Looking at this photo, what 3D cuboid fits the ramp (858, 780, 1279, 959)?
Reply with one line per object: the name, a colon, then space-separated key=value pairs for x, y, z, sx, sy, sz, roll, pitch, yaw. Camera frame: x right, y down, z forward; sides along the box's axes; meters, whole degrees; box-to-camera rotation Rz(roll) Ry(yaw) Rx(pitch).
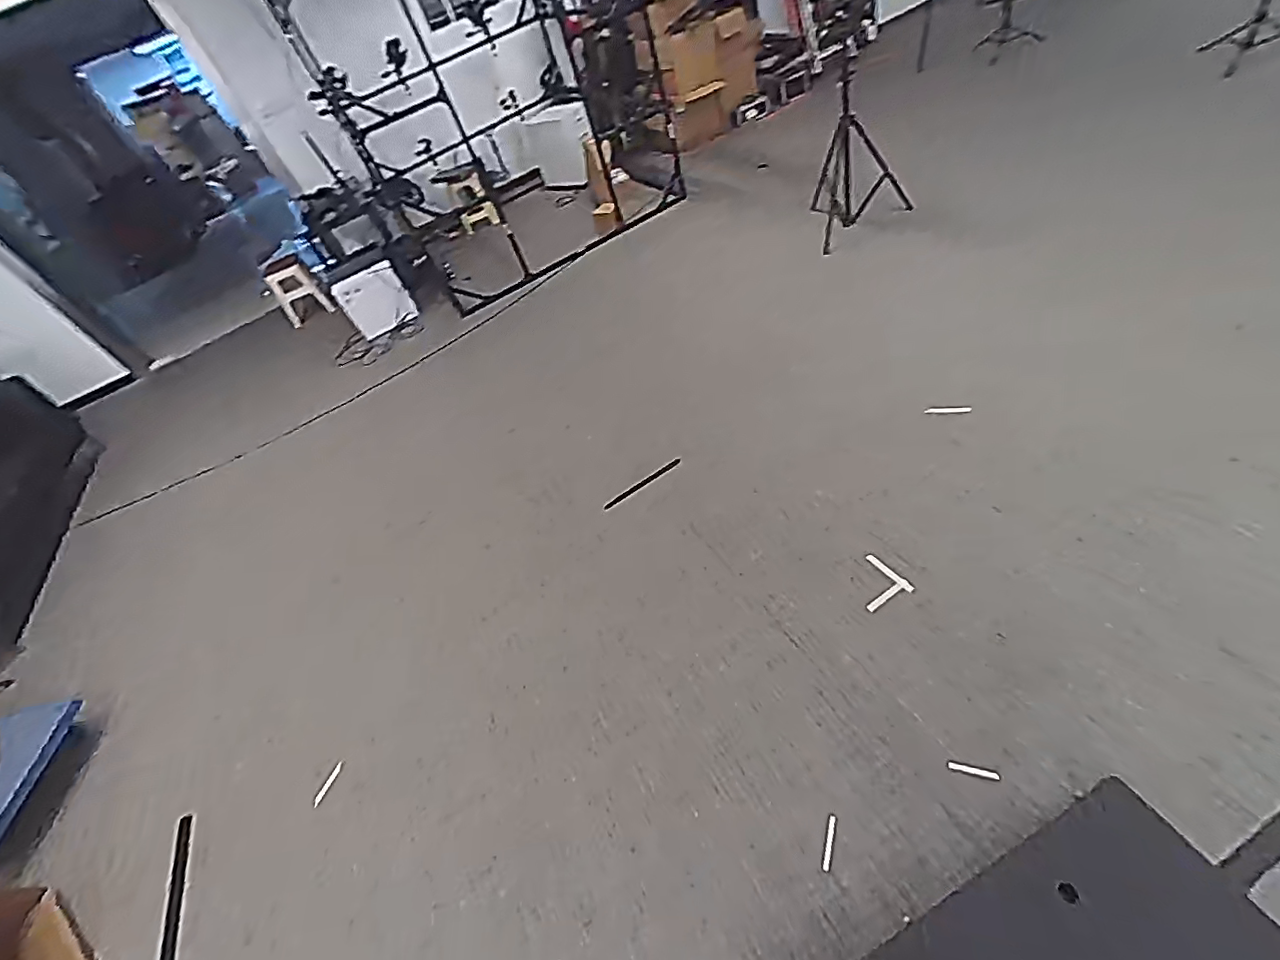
ramp: x=0.738 y=1.008 z=0.962 sx=0.991 sy=0.206 sz=0.509 roll=-31 pitch=44 yaw=-9
